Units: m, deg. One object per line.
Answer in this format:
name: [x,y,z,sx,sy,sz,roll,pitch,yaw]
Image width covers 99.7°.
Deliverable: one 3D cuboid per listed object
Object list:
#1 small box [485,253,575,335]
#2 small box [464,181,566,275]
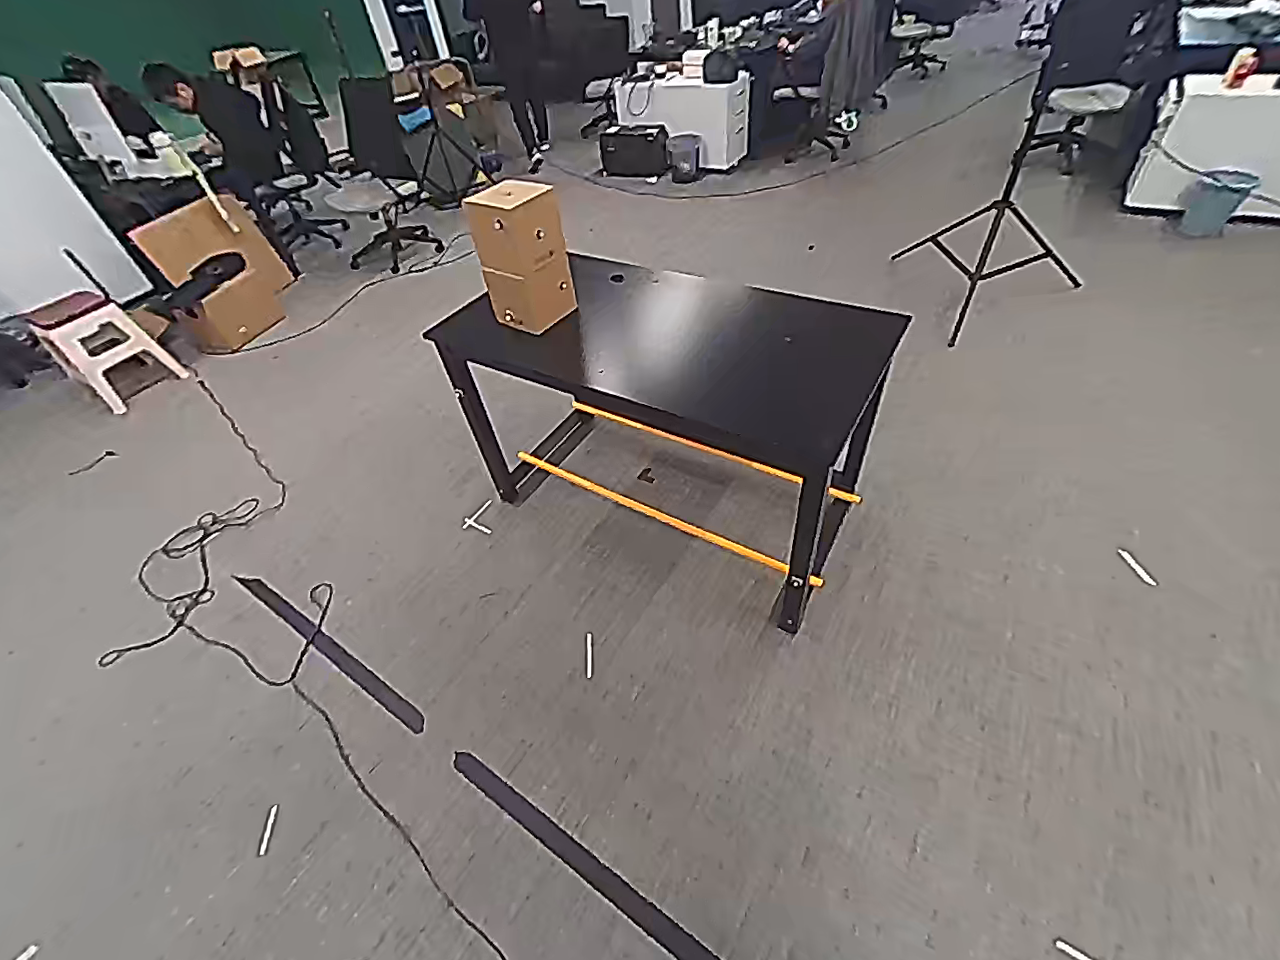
small box: [-0.301,-0.536,1.525,0.168,0.176,0.179,23,54,28]
small box: [-0.318,-0.657,1.413,0.179,0.176,0.168,23,53,28]
